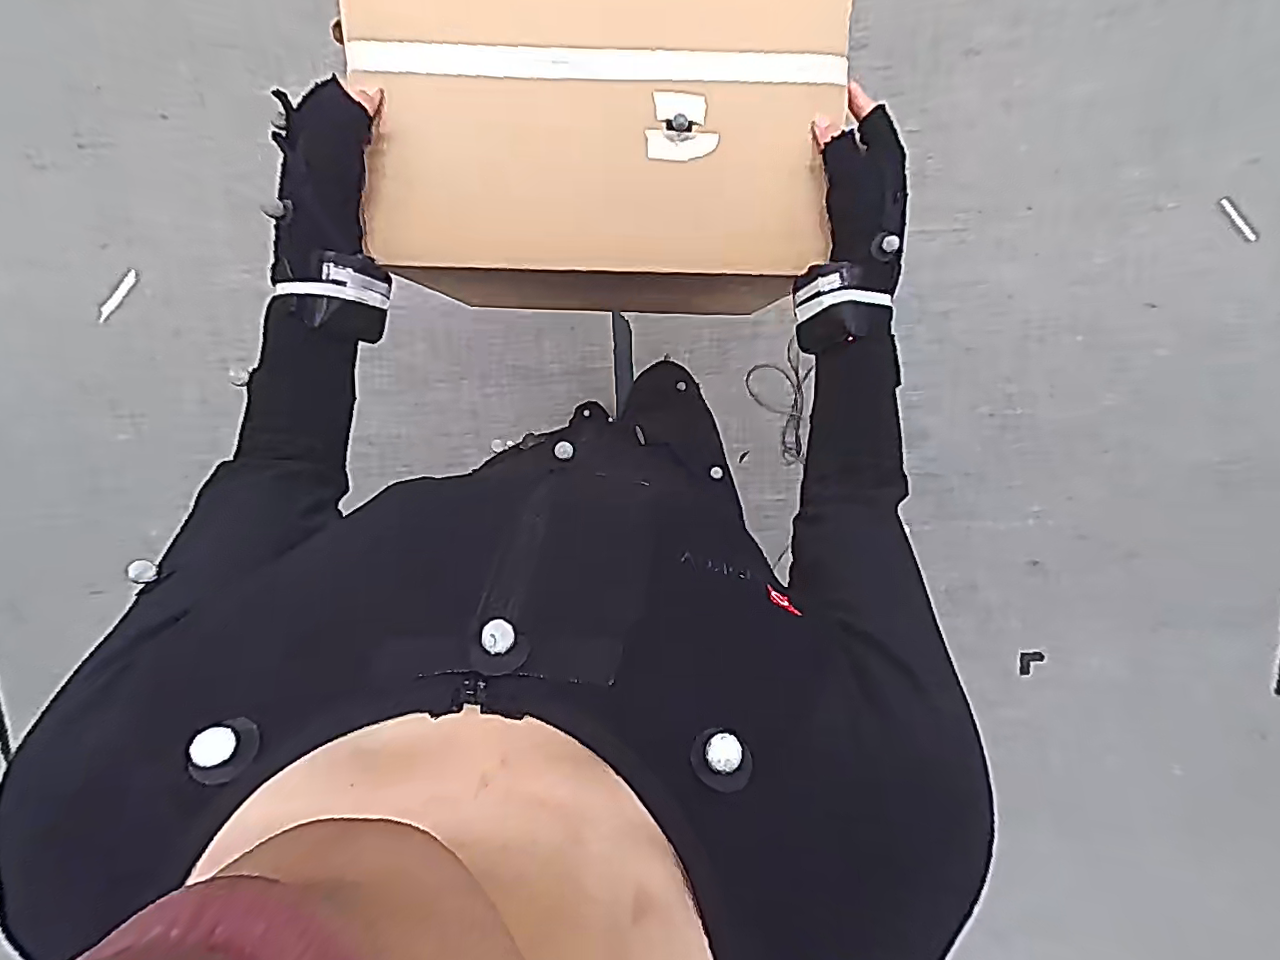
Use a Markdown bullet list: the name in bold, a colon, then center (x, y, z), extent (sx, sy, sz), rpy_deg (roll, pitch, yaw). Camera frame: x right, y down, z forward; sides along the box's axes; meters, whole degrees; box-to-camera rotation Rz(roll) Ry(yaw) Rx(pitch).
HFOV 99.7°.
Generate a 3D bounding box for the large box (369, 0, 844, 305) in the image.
- **large box**: center (-0.033, -0.377, 0.606), extent (0.408, 0.320, 0.320), rpy_deg (1, 102, -2)
